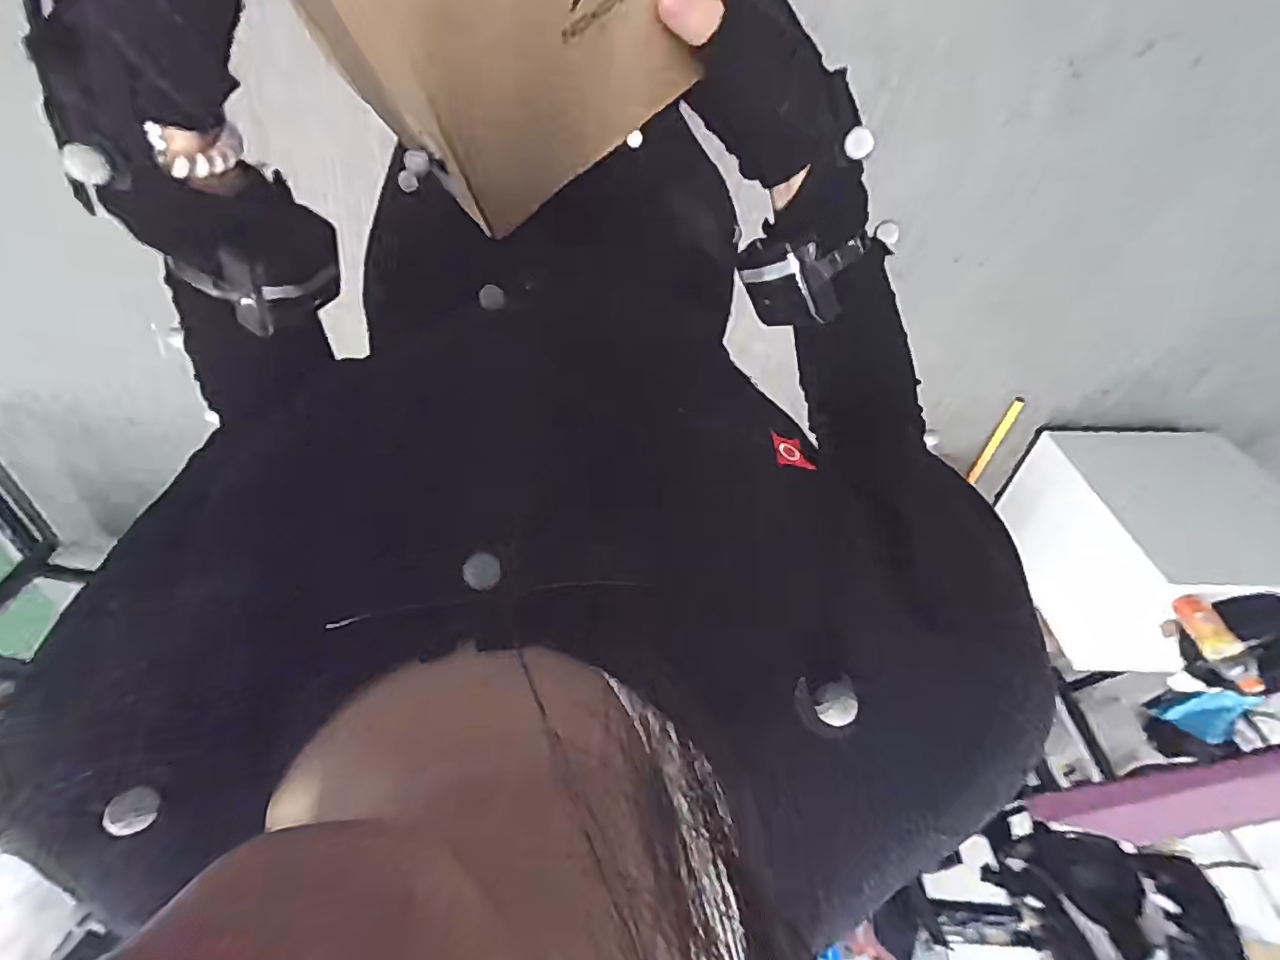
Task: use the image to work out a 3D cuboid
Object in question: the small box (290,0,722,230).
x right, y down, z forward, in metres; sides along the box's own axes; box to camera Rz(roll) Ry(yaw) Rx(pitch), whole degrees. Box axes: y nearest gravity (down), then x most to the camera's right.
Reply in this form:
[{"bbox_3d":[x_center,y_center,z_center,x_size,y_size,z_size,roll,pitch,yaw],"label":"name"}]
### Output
[{"bbox_3d":[-0.075,-0.260,0.228,0.168,0.179,0.176,-42,83,-4],"label":"small box"}]
